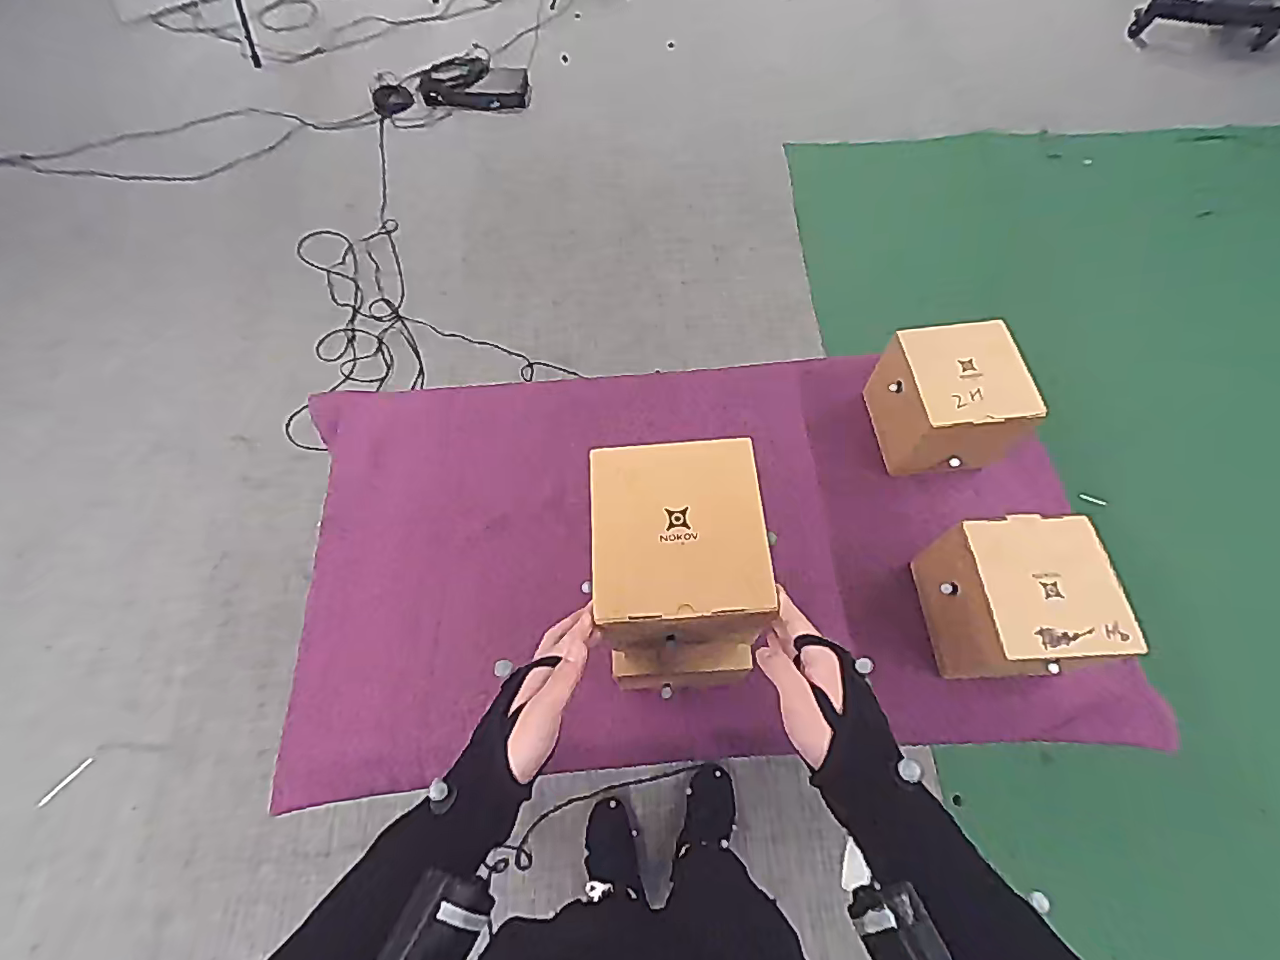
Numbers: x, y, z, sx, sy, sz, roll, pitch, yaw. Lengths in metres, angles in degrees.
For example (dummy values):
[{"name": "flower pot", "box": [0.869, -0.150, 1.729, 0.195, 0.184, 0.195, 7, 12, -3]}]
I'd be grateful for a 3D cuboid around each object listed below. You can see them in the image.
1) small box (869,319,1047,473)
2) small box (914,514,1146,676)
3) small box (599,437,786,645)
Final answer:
[{"name": "small box", "box": [0.489, -0.130, 0.867, 0.168, 0.176, 0.179, -5, 65, 1]}, {"name": "small box", "box": [0.502, 0.160, 0.733, 0.168, 0.176, 0.179, -2, 63, 1]}, {"name": "small box", "box": [0.044, 0.072, 0.582, 0.168, 0.176, 0.179, -4, 66, 0]}]
